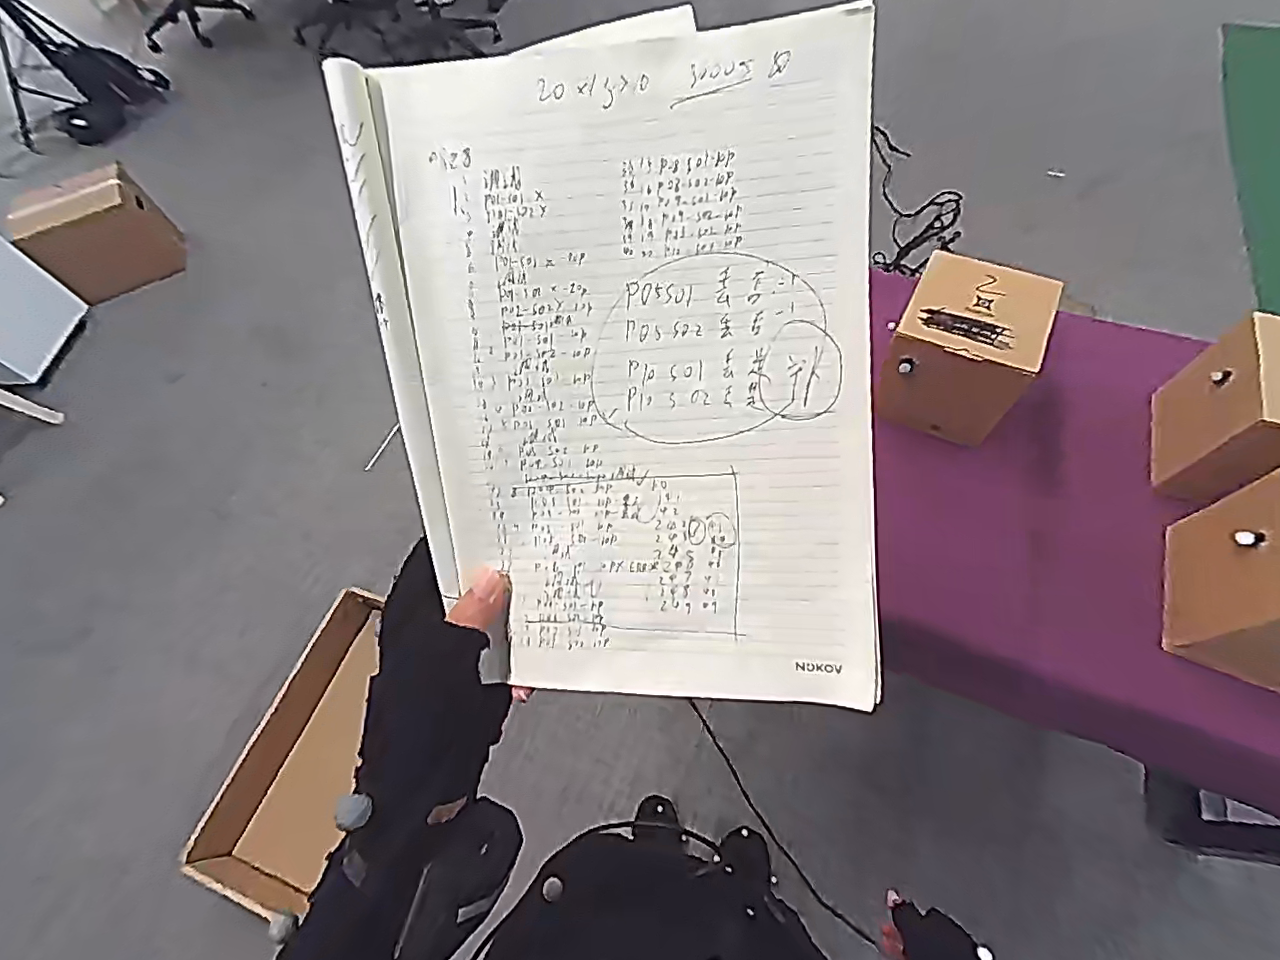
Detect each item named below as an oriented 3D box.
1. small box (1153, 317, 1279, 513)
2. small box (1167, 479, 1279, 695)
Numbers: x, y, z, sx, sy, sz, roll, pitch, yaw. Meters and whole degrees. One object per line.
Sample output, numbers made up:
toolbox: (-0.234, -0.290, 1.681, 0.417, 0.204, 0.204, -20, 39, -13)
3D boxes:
small box: (0.785, -0.062, 0.665, 0.168, 0.176, 0.179, 20, 65, 15)
small box: (0.712, 0.127, 0.569, 0.168, 0.176, 0.179, 22, 66, 17)
